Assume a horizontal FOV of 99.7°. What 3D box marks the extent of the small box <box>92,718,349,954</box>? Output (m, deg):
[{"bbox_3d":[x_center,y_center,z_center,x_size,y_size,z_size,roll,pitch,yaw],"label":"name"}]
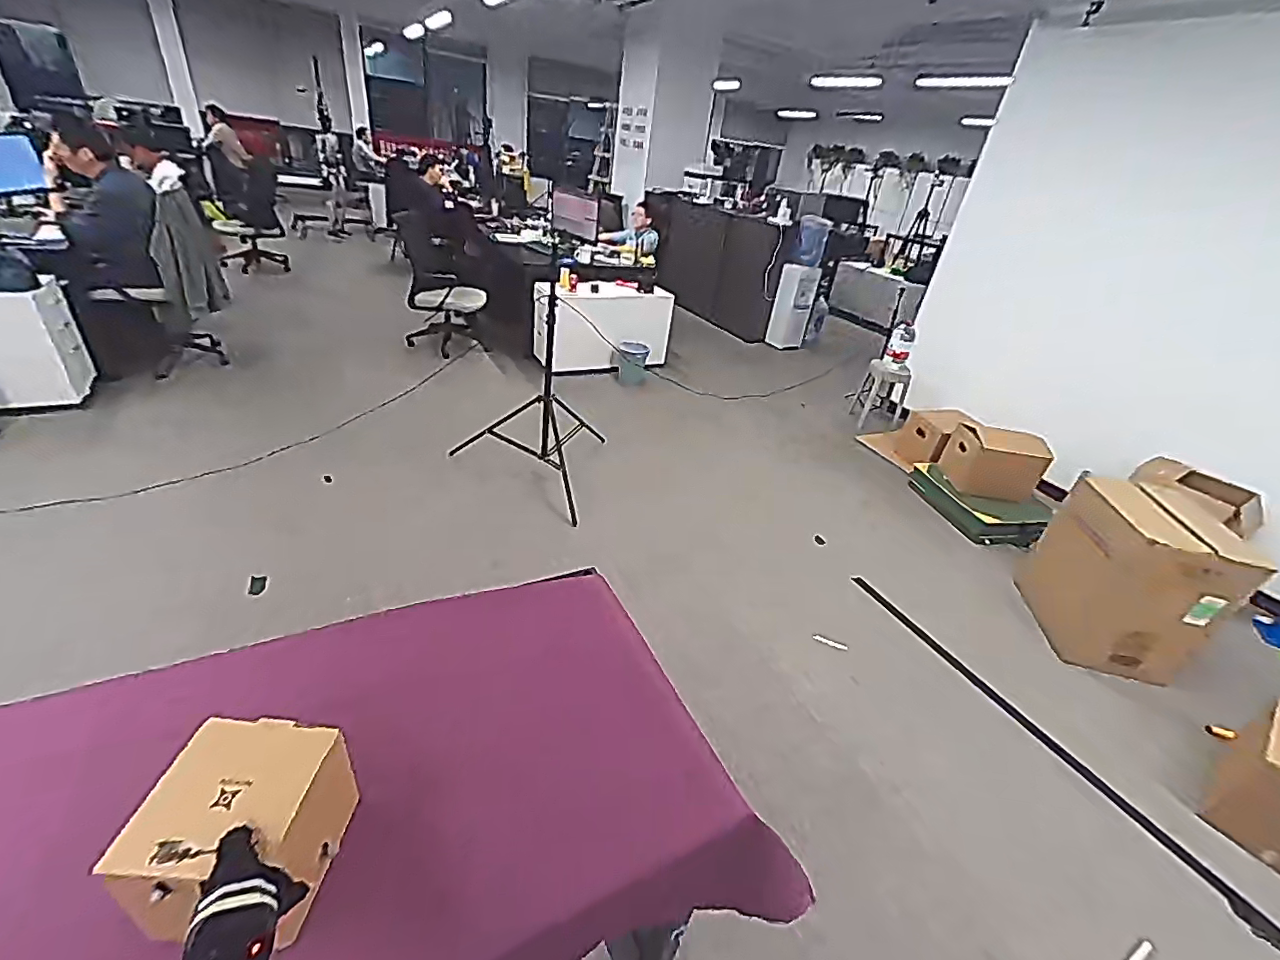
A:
[{"bbox_3d":[-0.475,0.422,0.651,0.168,0.176,0.179,7,30,-3],"label":"small box"}]
